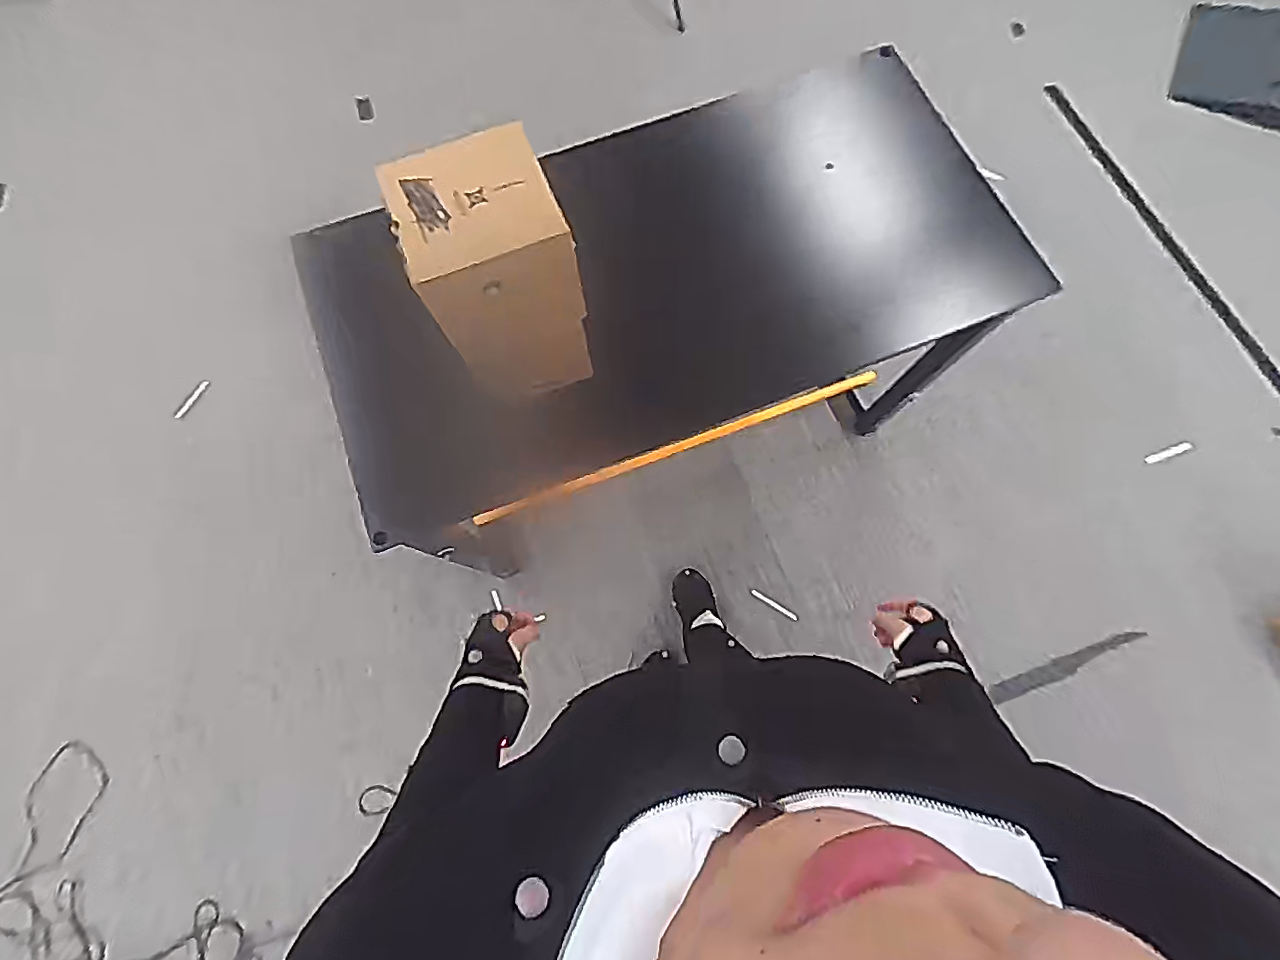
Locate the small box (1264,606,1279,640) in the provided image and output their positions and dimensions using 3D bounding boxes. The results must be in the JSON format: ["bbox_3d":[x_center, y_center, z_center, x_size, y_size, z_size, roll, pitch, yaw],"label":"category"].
[{"bbox_3d":[1.811,0.396,1.391,0.168,0.176,0.179,-27,77,-7],"label":"small box"}]

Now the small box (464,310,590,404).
[{"bbox_3d":[-0.185,-0.244,0.824,0.168,0.176,0.179,-22,76,-4],"label":"small box"}]

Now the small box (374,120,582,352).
[{"bbox_3d":[-0.186,-0.285,0.665,0.179,0.176,0.168,-22,76,-5],"label":"small box"}]
